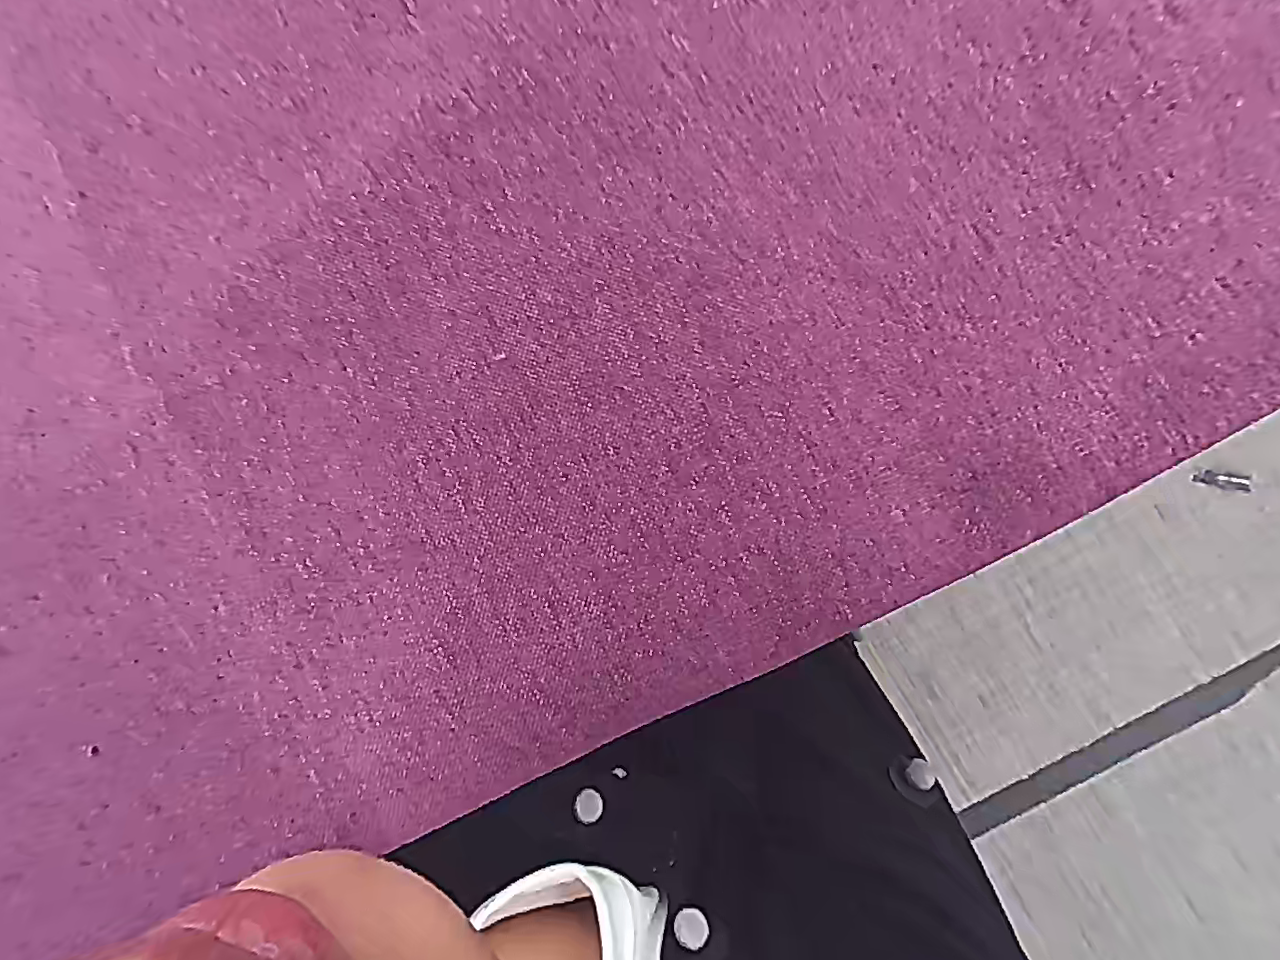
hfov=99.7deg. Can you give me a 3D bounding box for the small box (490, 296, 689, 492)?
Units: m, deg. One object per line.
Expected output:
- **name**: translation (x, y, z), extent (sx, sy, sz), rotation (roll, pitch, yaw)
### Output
- **small box**: translation (-0.054, -0.097, 0.707), extent (0.179, 0.176, 0.168), rotation (-35, 80, 7)
